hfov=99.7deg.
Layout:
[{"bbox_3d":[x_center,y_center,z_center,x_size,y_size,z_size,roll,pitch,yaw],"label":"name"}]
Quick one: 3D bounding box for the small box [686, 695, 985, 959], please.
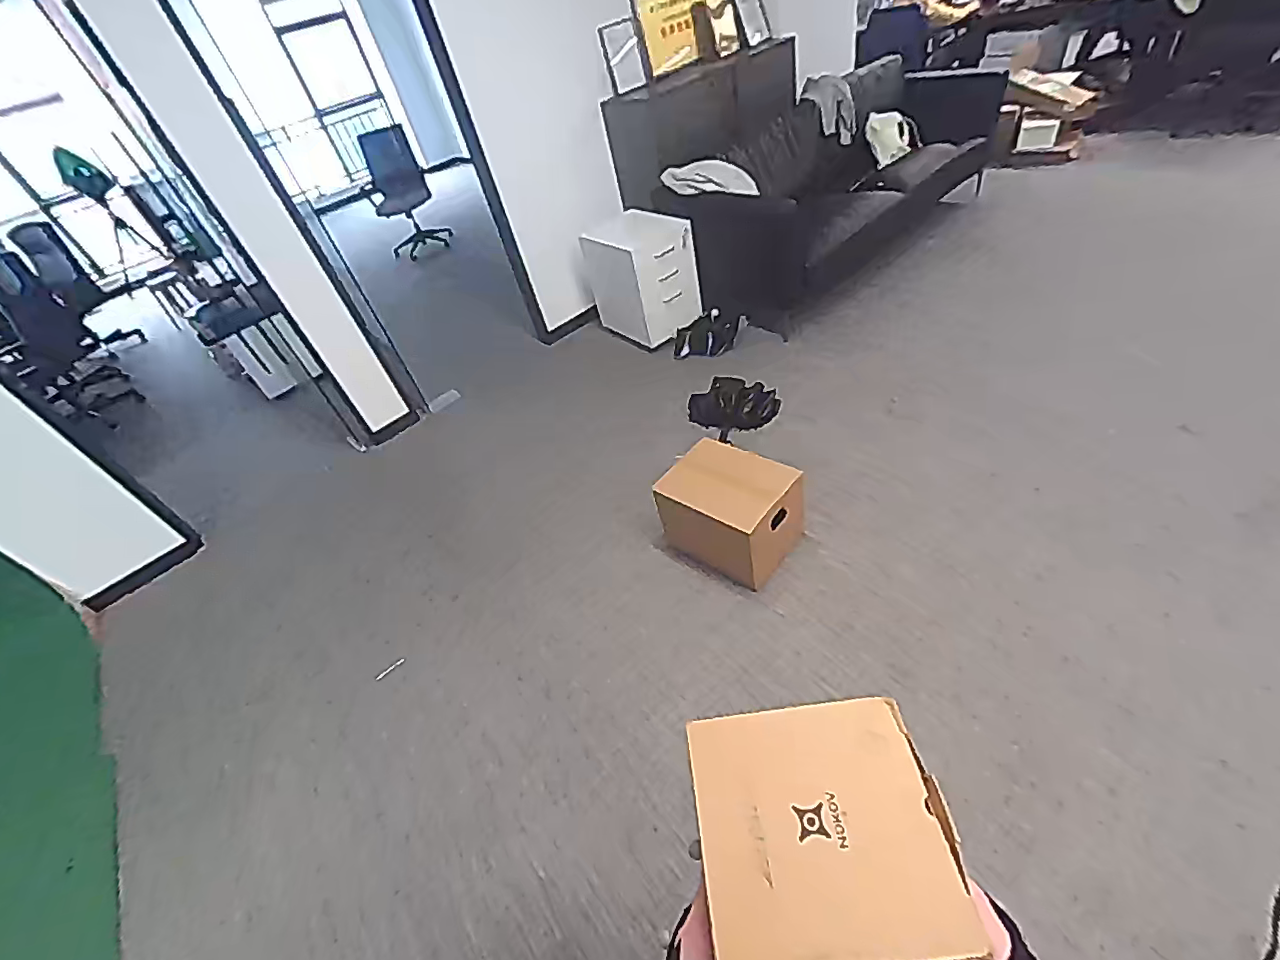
[{"bbox_3d":[0.141,0.303,0.457,0.179,0.176,0.168,-10,46,5],"label":"small box"}]
